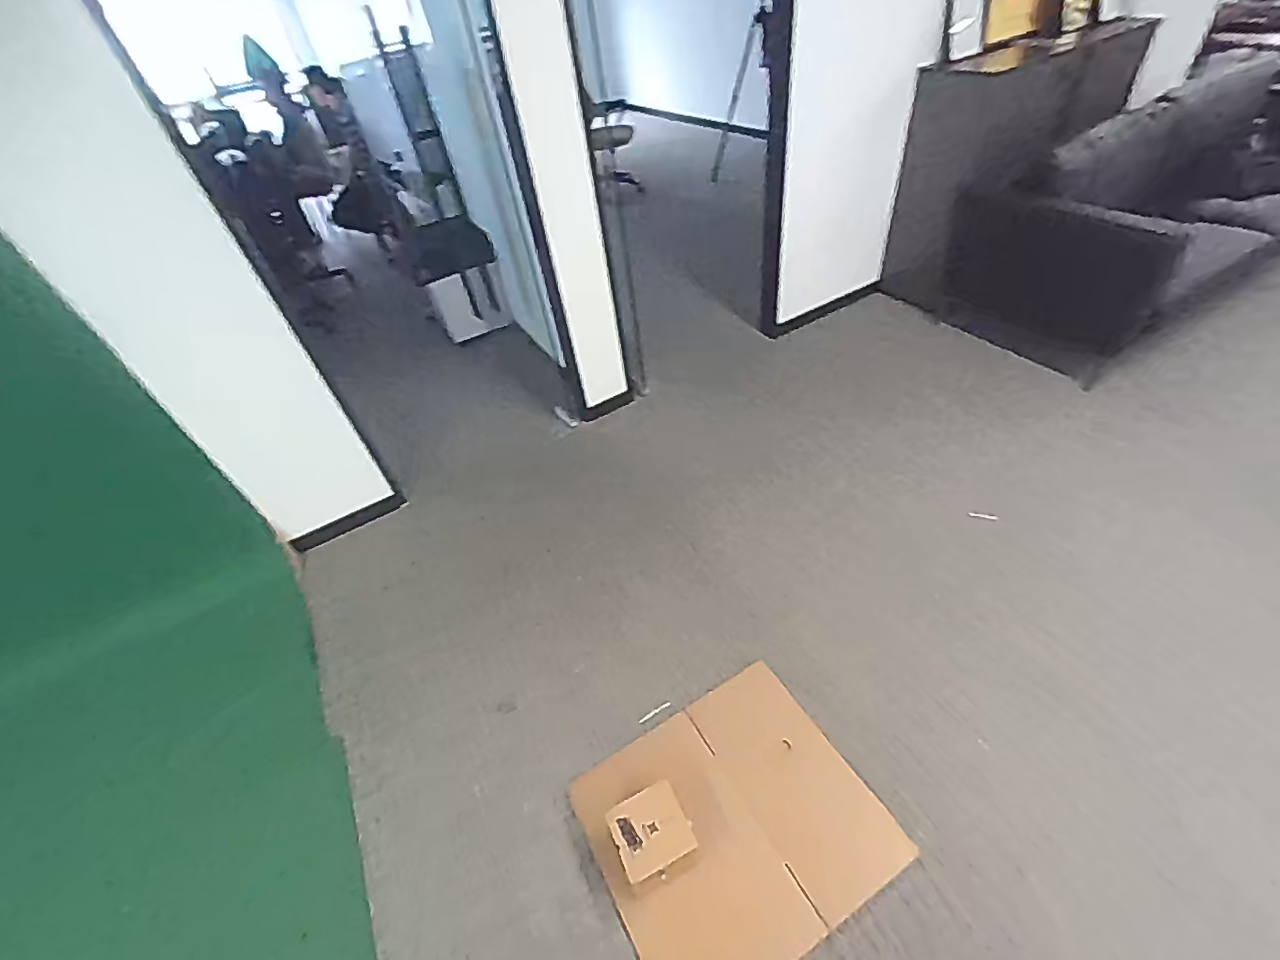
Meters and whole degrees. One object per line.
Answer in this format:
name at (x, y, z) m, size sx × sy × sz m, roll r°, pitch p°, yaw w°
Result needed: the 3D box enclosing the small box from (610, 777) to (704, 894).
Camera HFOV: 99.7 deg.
small box at (0.046, 0.884, 1.339) m, size 0.179 × 0.176 × 0.168 m, roll -23°, pitch 45°, yaw -13°
